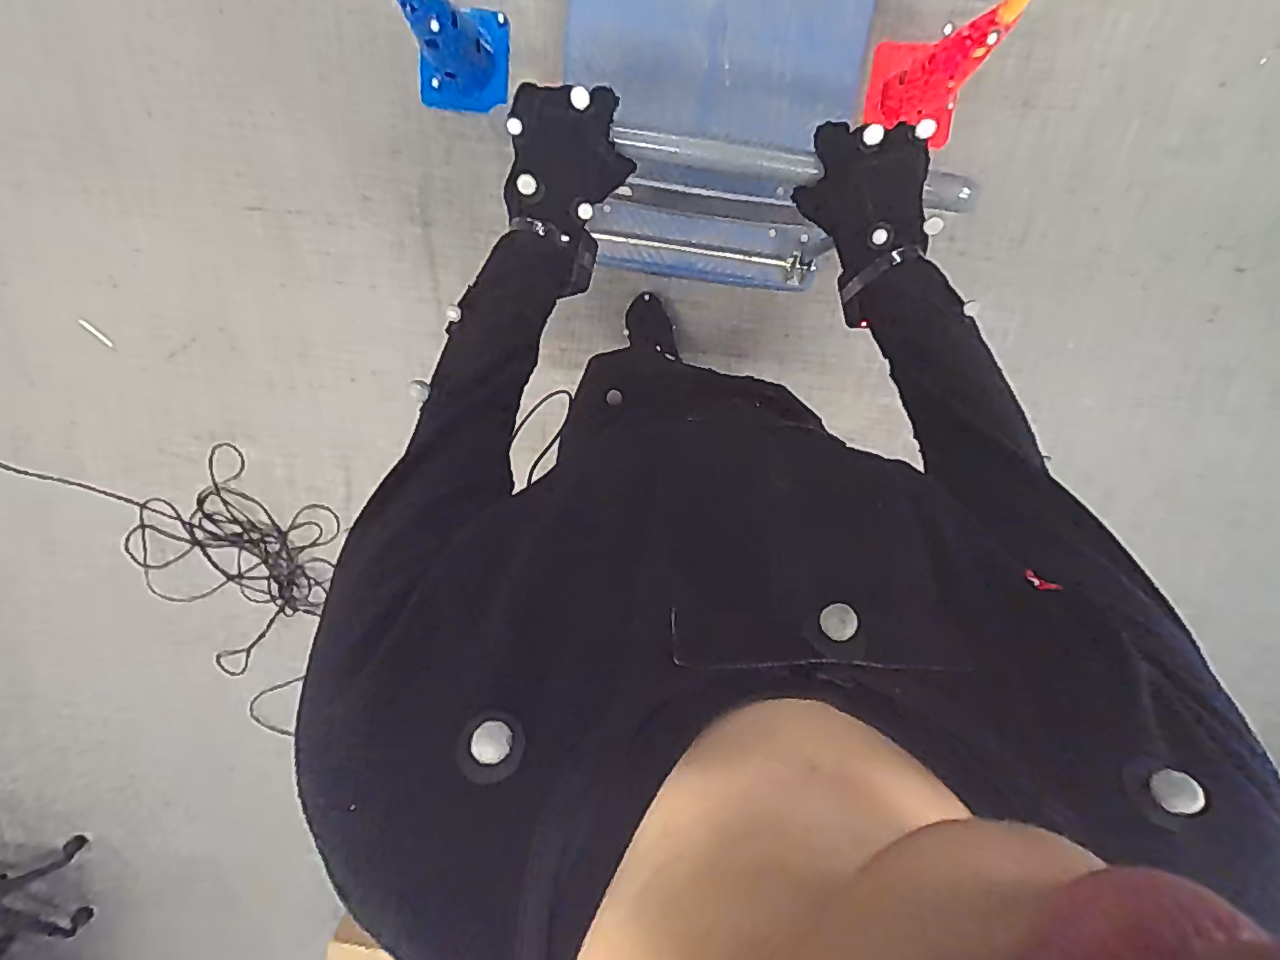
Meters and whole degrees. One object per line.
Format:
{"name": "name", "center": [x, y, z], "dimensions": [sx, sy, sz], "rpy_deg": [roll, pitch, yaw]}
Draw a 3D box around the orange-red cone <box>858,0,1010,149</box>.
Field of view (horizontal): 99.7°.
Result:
{"name": "orange-red cone", "center": [0.598, -0.819, 1.061], "dimensions": [0.199, 0.360, 0.198], "rpy_deg": [6, 106, 1]}
